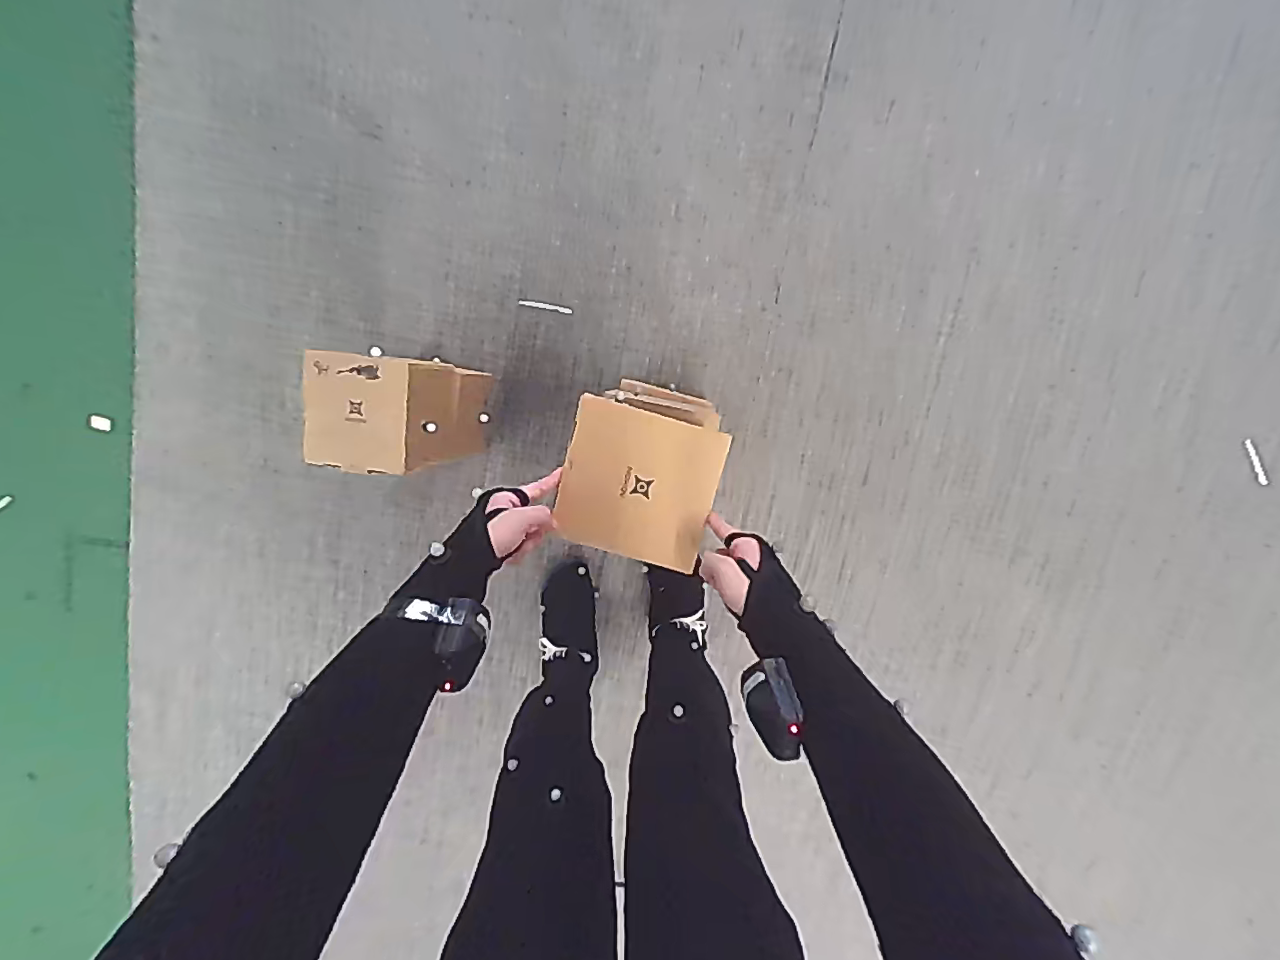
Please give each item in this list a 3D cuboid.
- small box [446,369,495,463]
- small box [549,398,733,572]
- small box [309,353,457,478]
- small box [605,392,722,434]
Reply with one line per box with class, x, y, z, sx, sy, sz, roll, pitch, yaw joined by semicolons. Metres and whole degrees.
small box;-0.406;-0.137;1.067;0.179;0.176;0.168;10;100;1
small box;0.001;-0.002;0.687;0.179;0.176;0.168;15;95;-1
small box;-0.420;-0.112;0.905;0.168;0.176;0.179;7;100;3
small box;0.025;-0.045;0.884;0.179;0.176;0.168;12;100;1
